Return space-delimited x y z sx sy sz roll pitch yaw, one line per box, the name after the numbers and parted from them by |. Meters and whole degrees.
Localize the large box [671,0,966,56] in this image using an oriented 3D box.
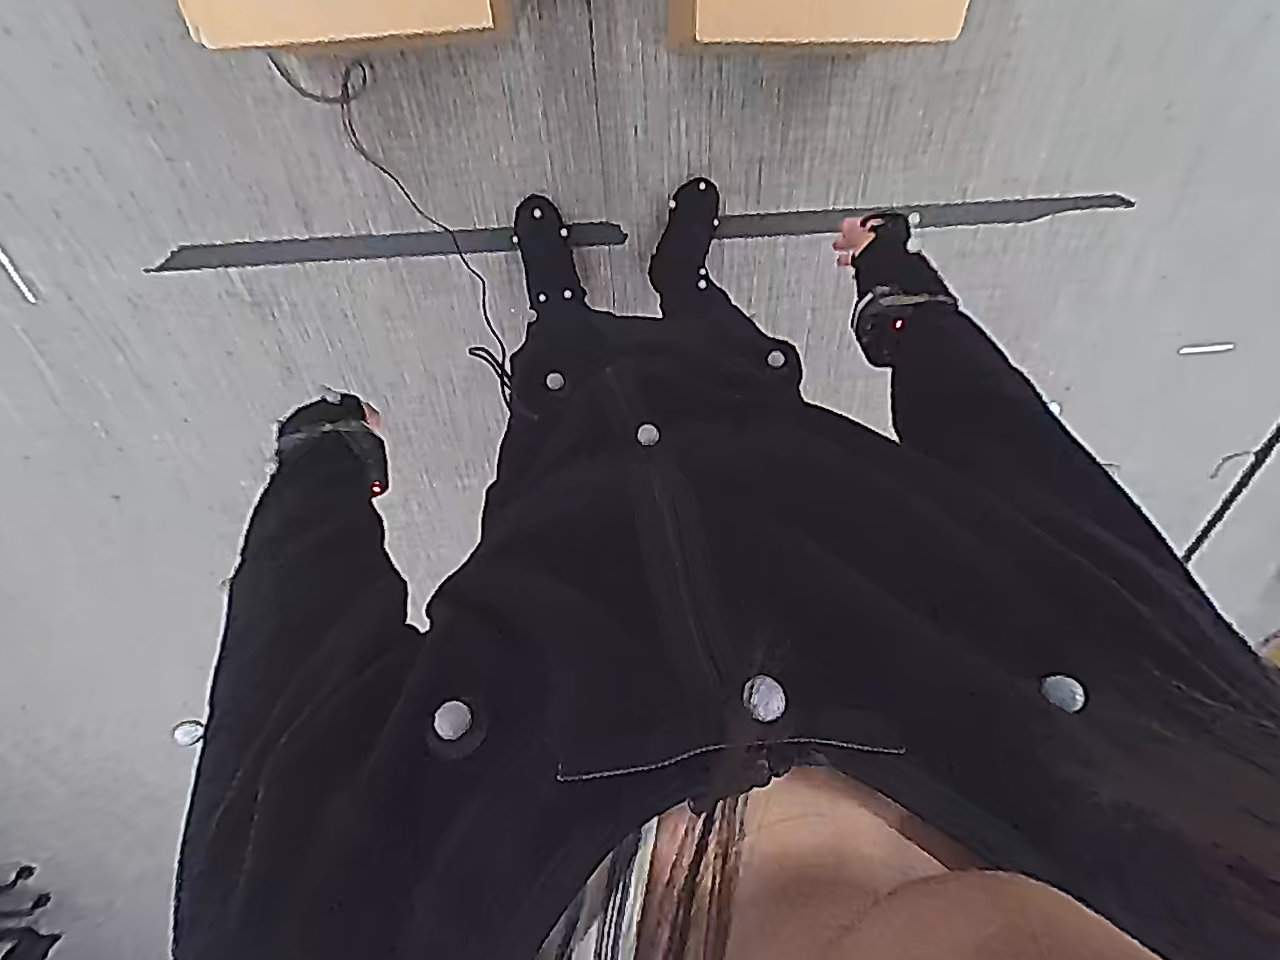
0.267 -0.869 0.841 0.408 0.320 0.320 -3 126 -5 | large box
